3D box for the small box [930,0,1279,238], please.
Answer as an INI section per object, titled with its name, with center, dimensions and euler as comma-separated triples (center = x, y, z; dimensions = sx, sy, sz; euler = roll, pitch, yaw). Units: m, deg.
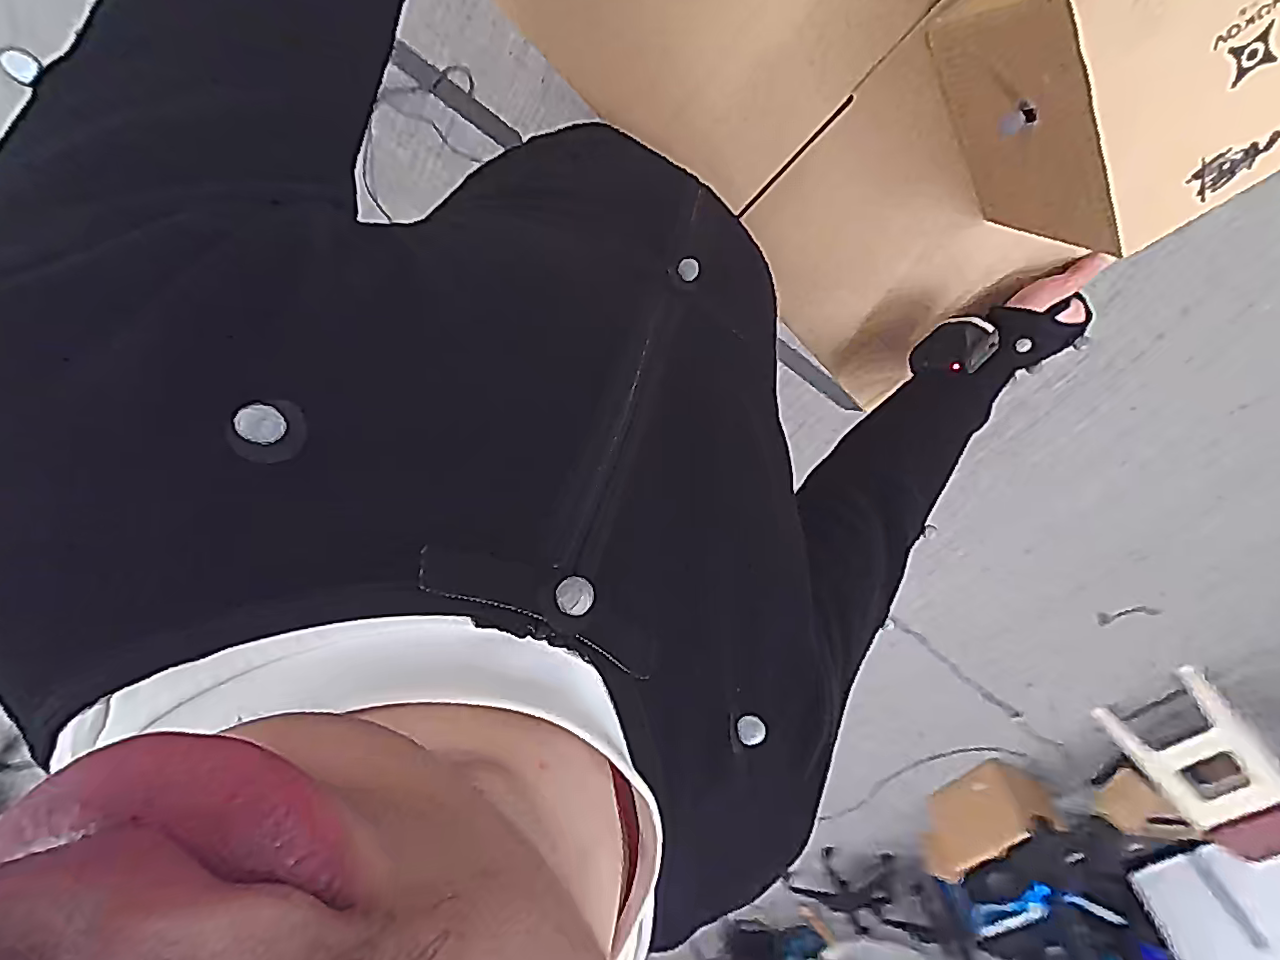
[small box]
center = 0.341, -0.305, 0.380
dimensions = 0.168, 0.176, 0.179
euler = -33, 117, 19
